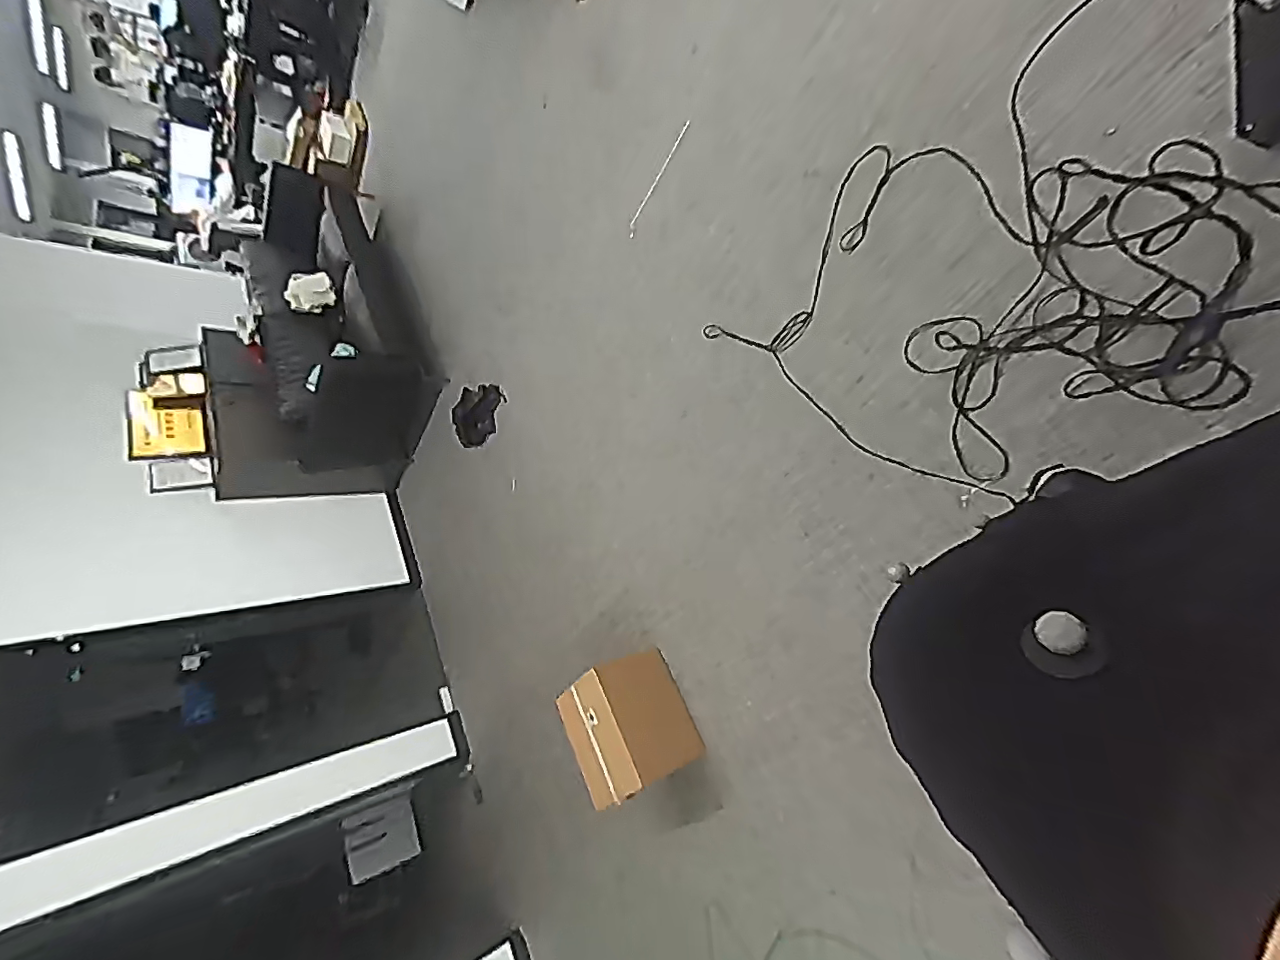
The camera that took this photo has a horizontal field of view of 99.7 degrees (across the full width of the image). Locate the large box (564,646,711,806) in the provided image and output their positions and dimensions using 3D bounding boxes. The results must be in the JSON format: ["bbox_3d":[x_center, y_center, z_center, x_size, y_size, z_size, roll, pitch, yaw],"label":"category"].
[{"bbox_3d":[-0.015,0.876,1.957,0.320,0.320,0.408,-50,55,36],"label":"large box"}]
